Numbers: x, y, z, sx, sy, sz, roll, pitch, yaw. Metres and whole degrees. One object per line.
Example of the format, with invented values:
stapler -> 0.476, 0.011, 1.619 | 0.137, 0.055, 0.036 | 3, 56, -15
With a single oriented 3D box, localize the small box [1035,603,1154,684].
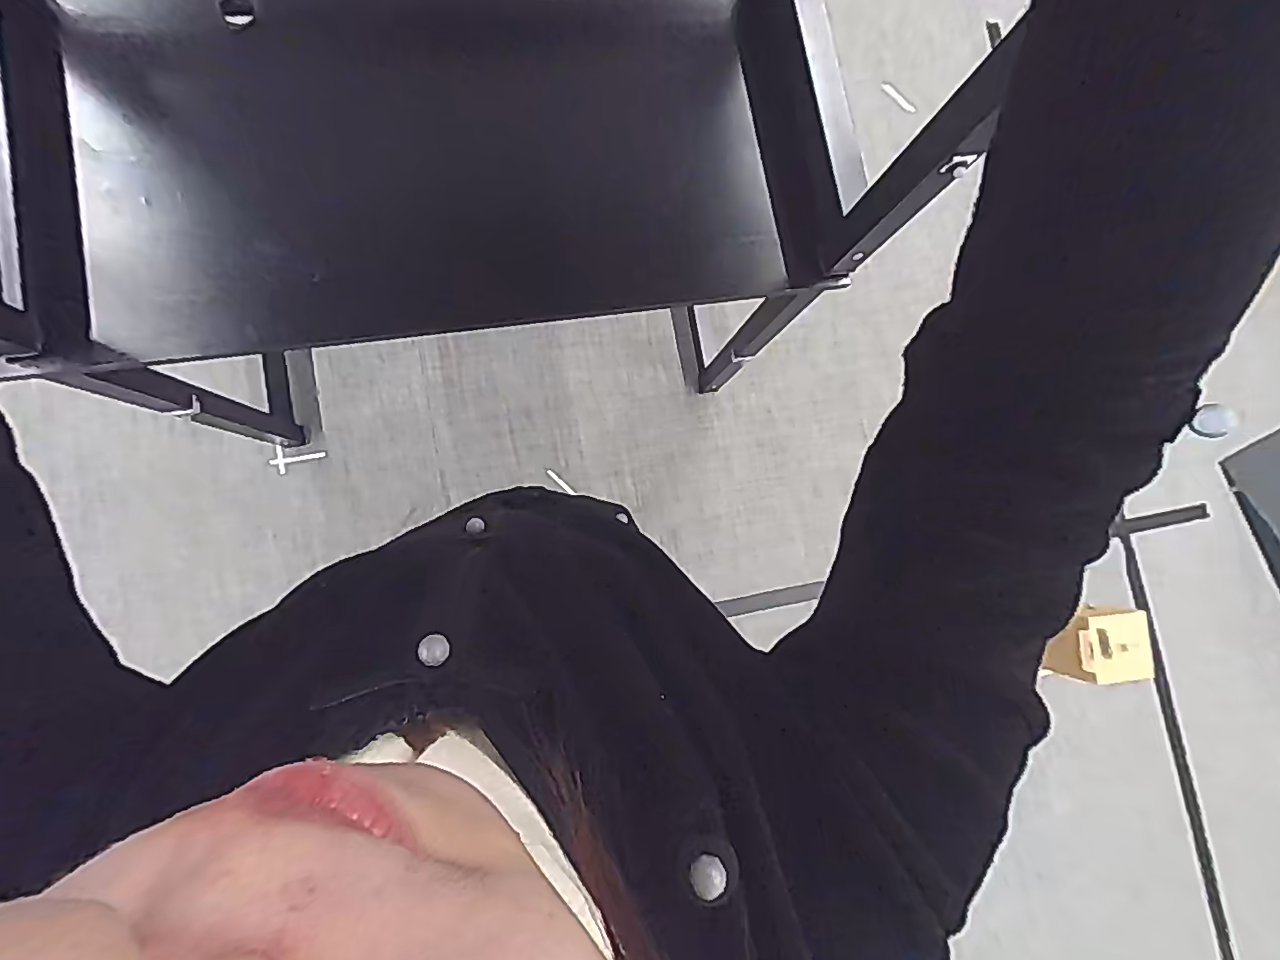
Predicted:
small box -> 1.174, 0.421, 1.413 | 0.179, 0.176, 0.168 | -3, 86, -9
